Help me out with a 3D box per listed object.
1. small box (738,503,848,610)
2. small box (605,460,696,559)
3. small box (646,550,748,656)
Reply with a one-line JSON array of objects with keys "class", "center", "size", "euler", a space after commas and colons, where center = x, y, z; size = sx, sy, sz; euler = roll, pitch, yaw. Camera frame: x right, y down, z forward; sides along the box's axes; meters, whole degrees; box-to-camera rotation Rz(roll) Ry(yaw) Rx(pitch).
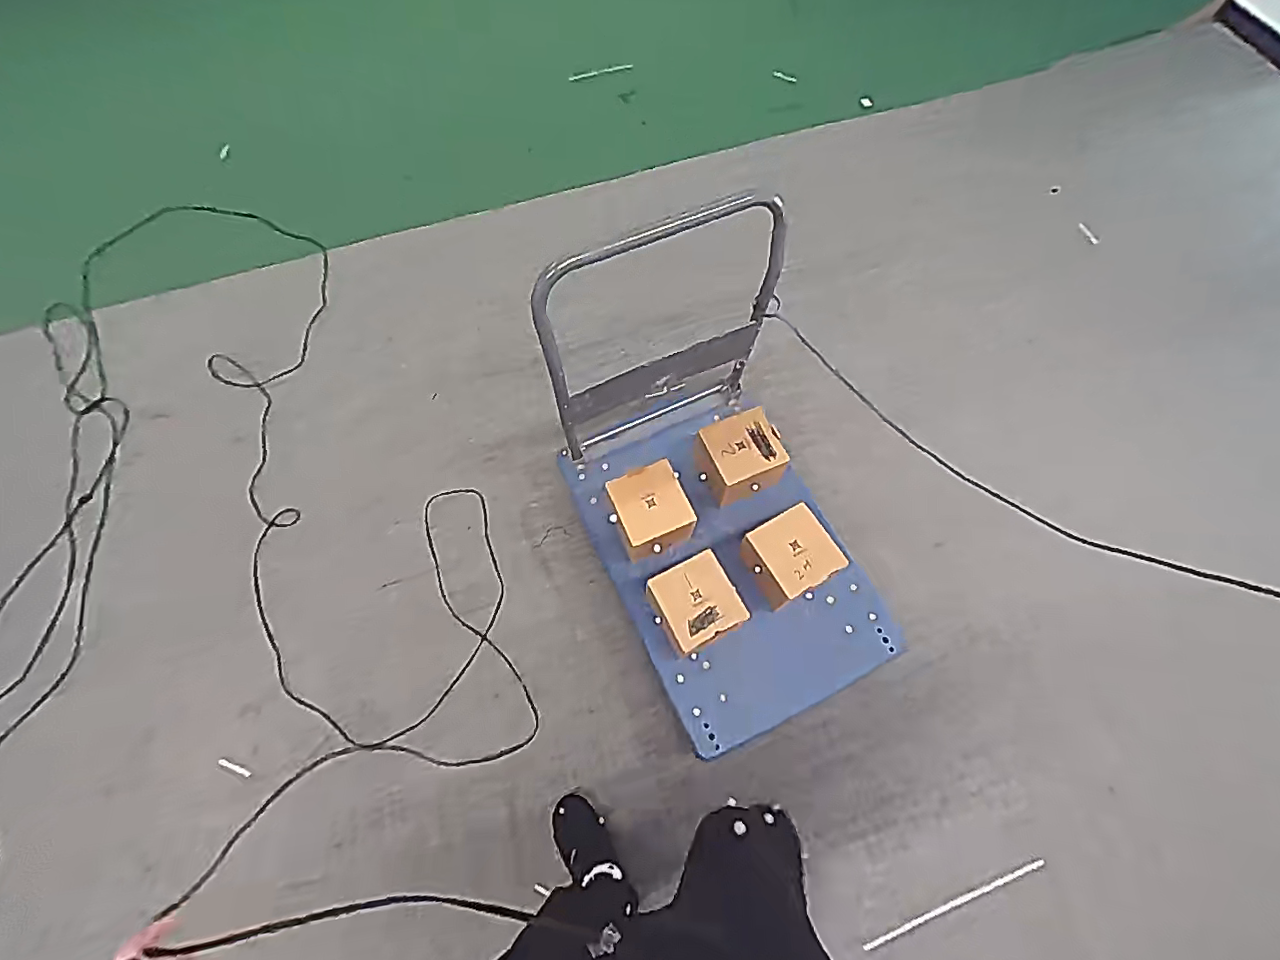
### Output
[{"class": "small box", "center": [0.353, 0.188, 1.291], "size": [0.168, 0.176, 0.179], "euler": [-28, 70, -11]}, {"class": "small box", "center": [0.024, 0.082, 1.336], "size": [0.168, 0.176, 0.179], "euler": [-22, 68, -9]}, {"class": "small box", "center": [0.125, 0.291, 1.246], "size": [0.168, 0.176, 0.179], "euler": [-25, 69, -11]}]
